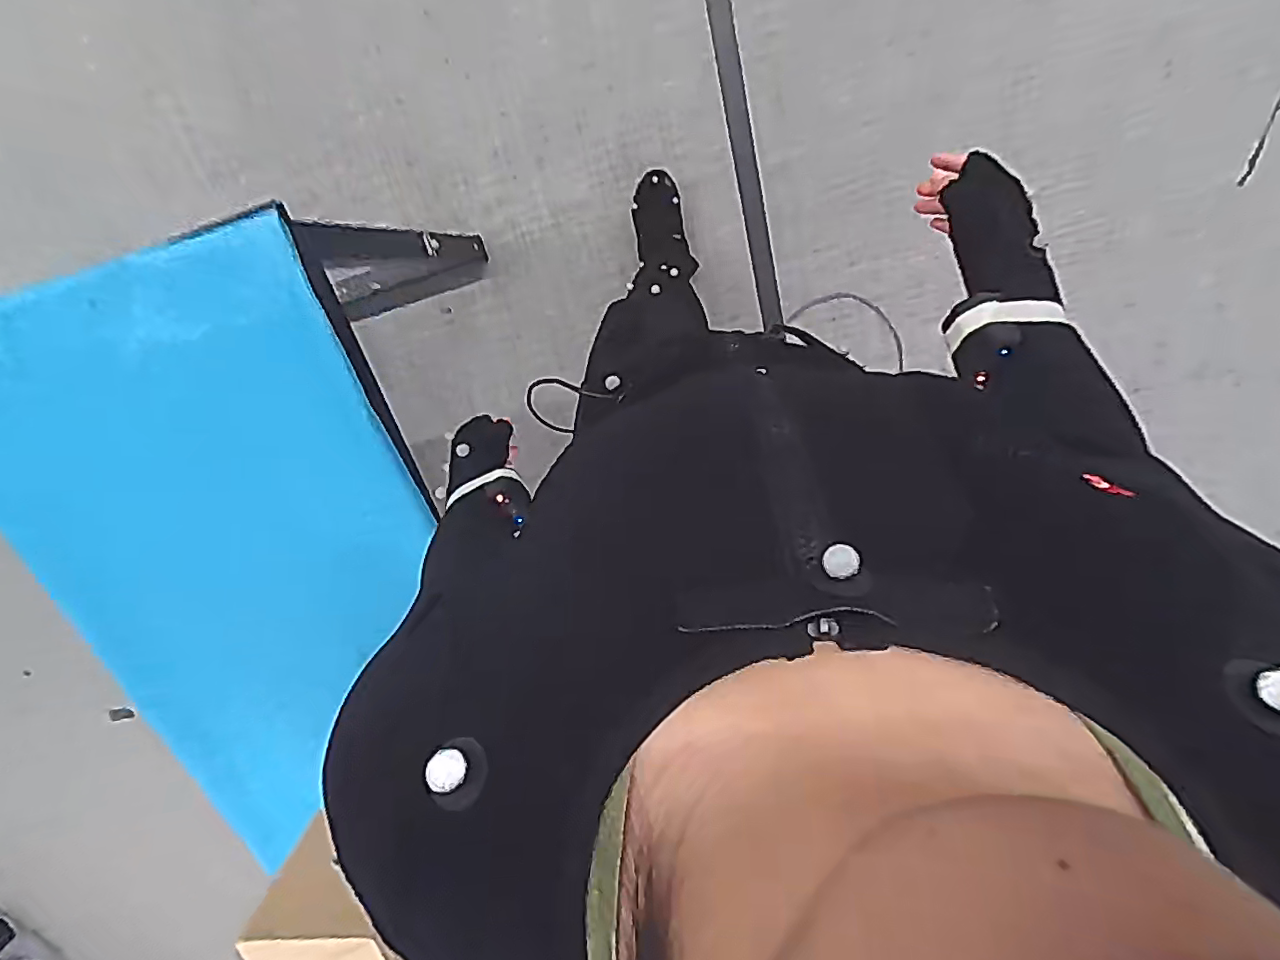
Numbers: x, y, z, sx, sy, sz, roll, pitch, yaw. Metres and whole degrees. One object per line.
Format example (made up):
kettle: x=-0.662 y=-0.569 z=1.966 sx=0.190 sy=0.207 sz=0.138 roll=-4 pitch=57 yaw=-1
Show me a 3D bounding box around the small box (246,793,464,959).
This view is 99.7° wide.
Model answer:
small box: x=-0.368 y=0.558 z=0.729 sx=0.179 sy=0.176 sz=0.168 roll=-6 pitch=112 yaw=5
